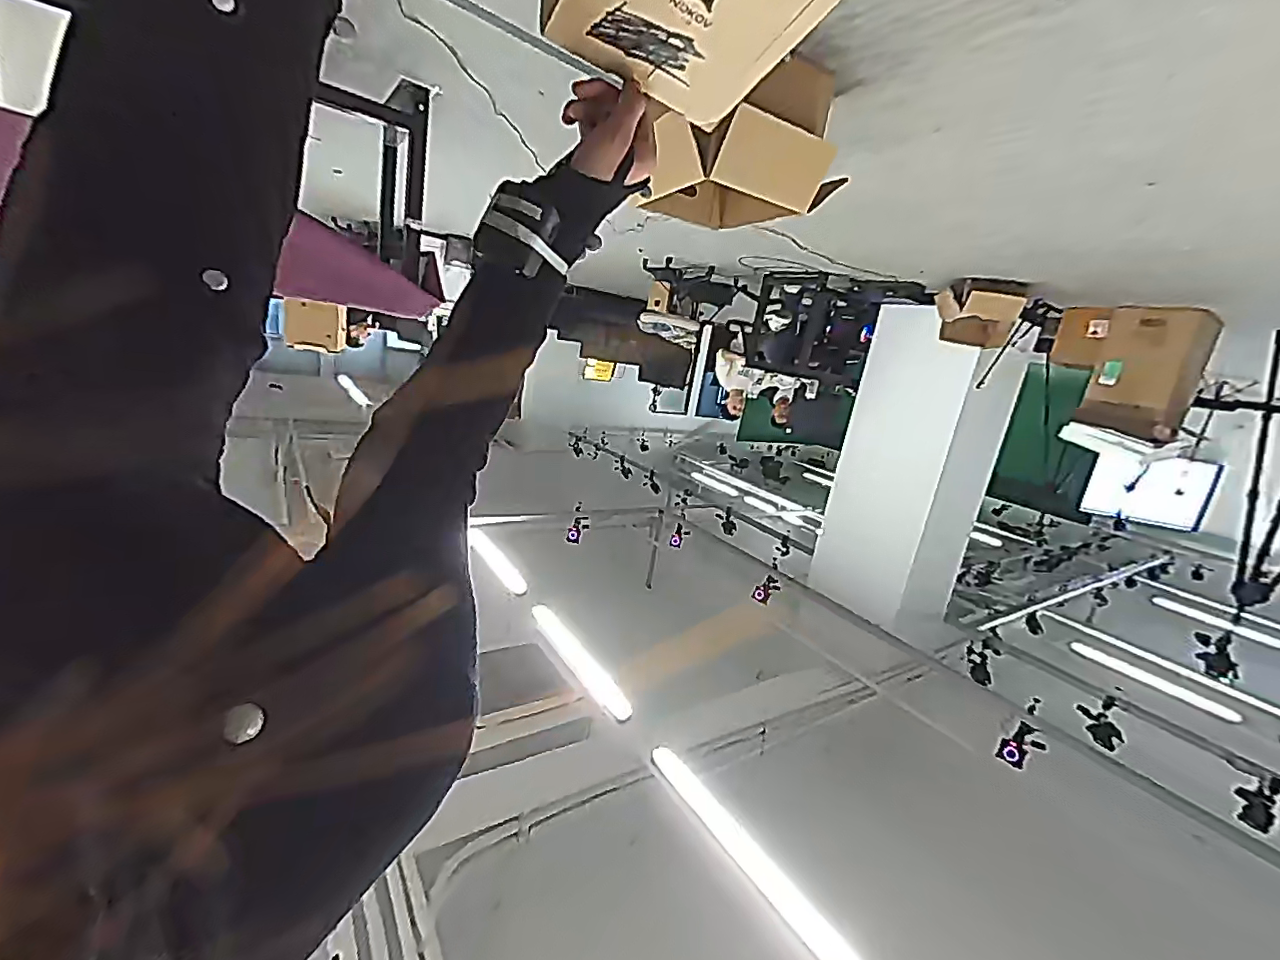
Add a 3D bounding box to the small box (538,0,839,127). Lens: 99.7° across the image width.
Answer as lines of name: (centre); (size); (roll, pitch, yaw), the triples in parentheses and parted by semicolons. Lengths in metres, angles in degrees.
small box: (0.039, -0.413, 0.384); (0.168, 0.176, 0.179); (4, 171, -32)
